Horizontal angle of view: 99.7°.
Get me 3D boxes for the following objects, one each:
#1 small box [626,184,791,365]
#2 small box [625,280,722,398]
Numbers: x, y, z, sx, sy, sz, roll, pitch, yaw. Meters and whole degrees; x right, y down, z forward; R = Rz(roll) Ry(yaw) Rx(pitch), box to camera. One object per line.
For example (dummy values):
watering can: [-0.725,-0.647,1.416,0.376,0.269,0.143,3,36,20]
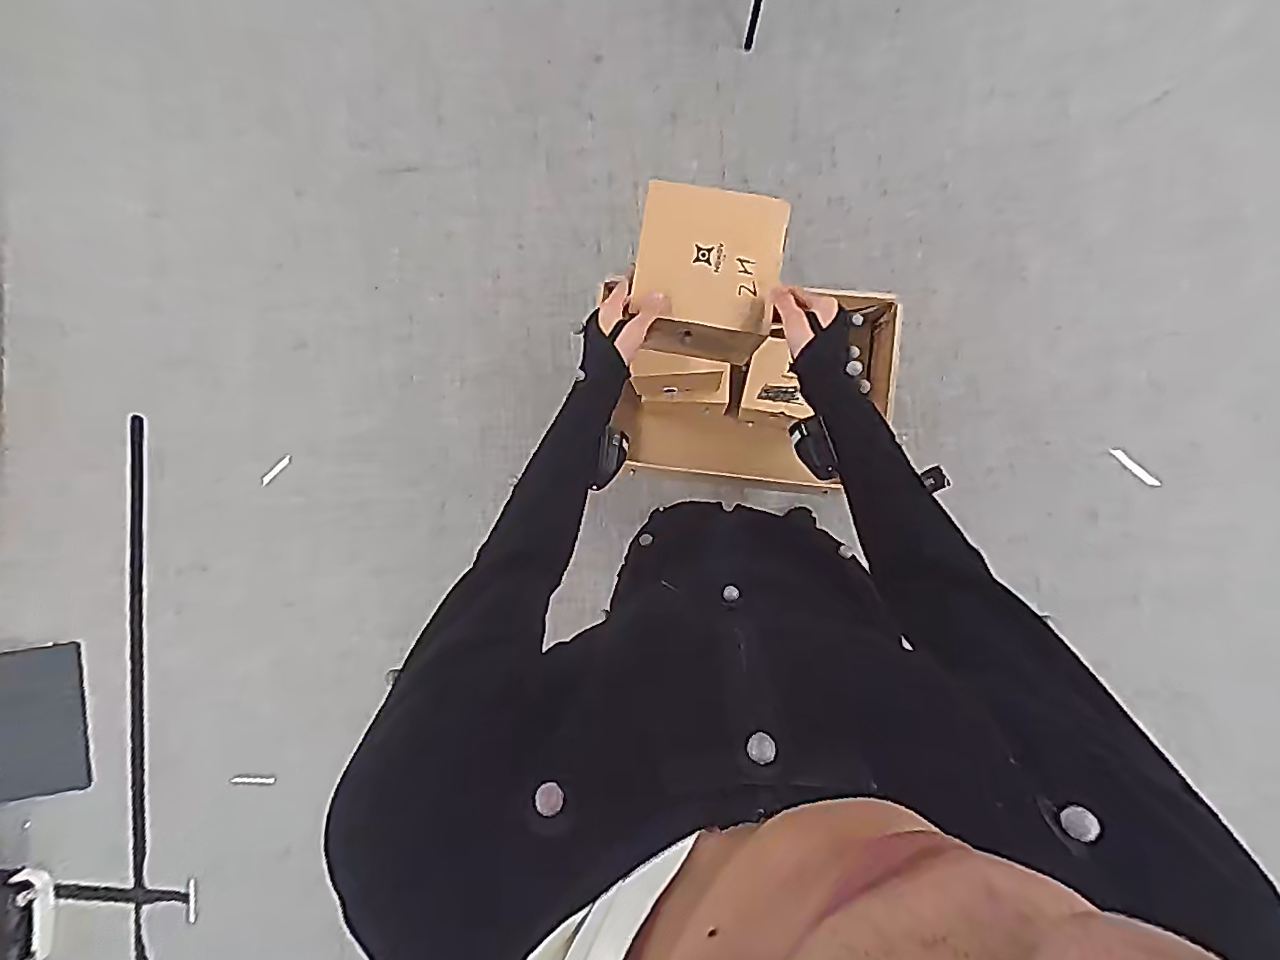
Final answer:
small box: [0.081,-0.260,0.725,0.179,0.176,0.168,10,91,-1]
small box: [0.063,-0.258,1.002,0.168,0.176,0.179,-2,87,6]
